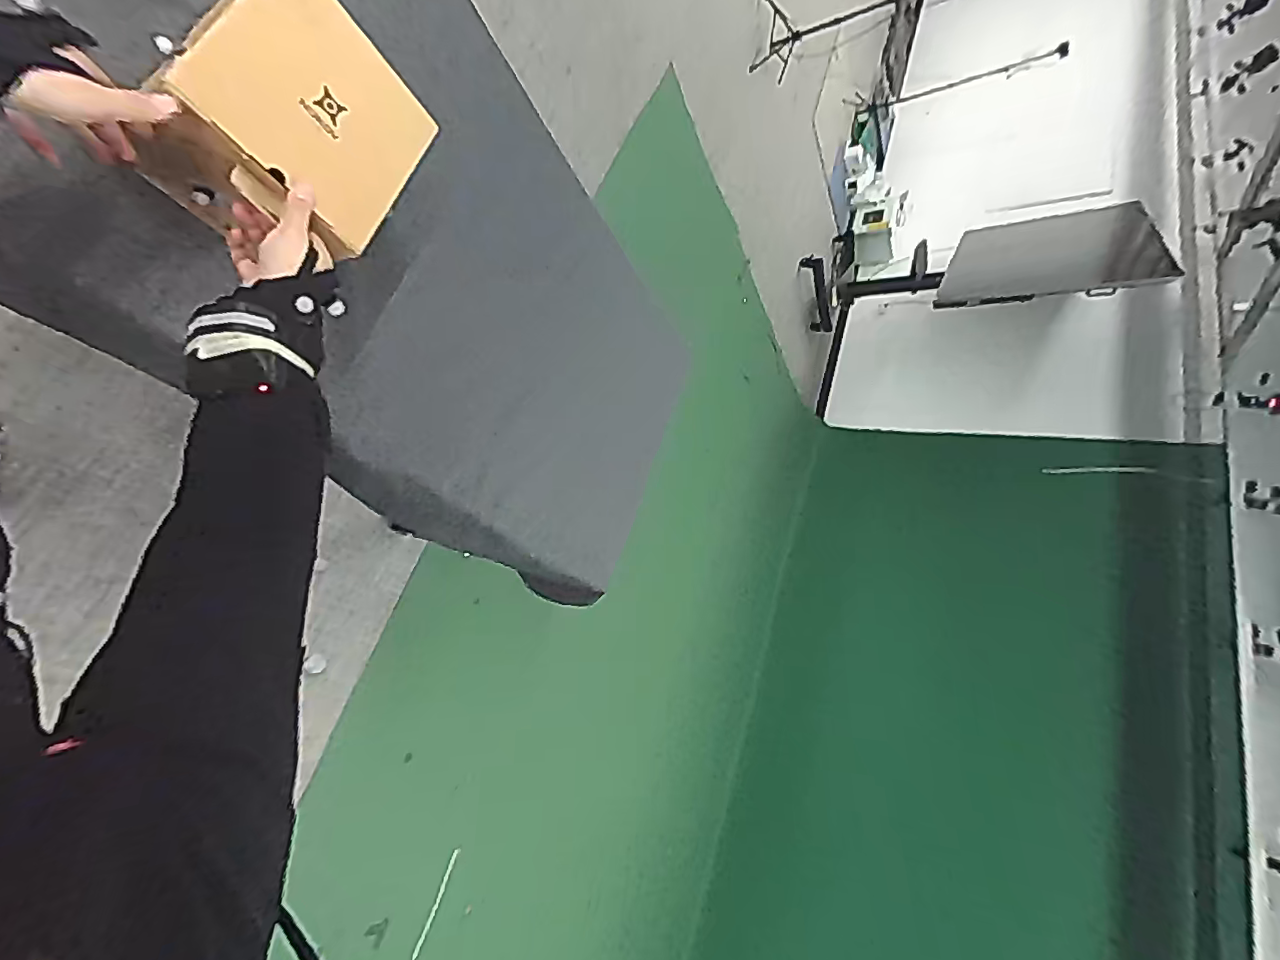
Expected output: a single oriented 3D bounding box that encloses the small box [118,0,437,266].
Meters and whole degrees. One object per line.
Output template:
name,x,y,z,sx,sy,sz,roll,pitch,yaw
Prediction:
small box,-0.342,-0.335,0.522,0.168,0.176,0.179,44,59,-52
